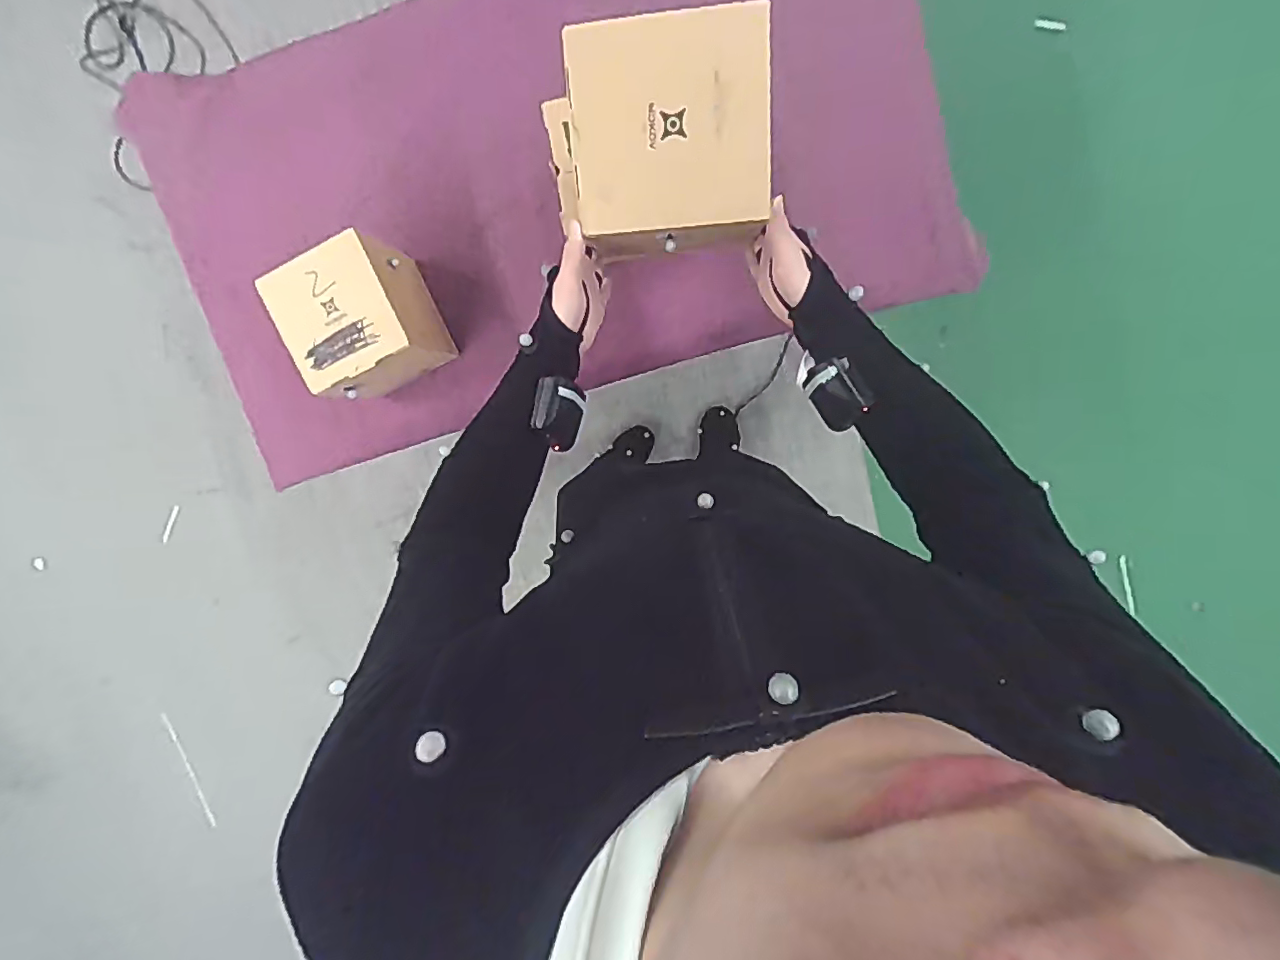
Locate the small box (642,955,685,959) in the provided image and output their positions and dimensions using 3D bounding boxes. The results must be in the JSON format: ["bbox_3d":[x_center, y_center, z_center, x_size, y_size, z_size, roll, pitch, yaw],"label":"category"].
[{"bbox_3d":[0.075,1.765,1.831,0.179,0.176,0.168,-11,98,6],"label":"small box"}]

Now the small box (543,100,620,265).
[{"bbox_3d":[-0.022,-0.420,0.769,0.179,0.176,0.168,-9,98,5],"label":"small box"}]

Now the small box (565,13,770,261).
[{"bbox_3d":[0.033,-0.323,0.549,0.179,0.176,0.168,-2,106,6],"label":"small box"}]
